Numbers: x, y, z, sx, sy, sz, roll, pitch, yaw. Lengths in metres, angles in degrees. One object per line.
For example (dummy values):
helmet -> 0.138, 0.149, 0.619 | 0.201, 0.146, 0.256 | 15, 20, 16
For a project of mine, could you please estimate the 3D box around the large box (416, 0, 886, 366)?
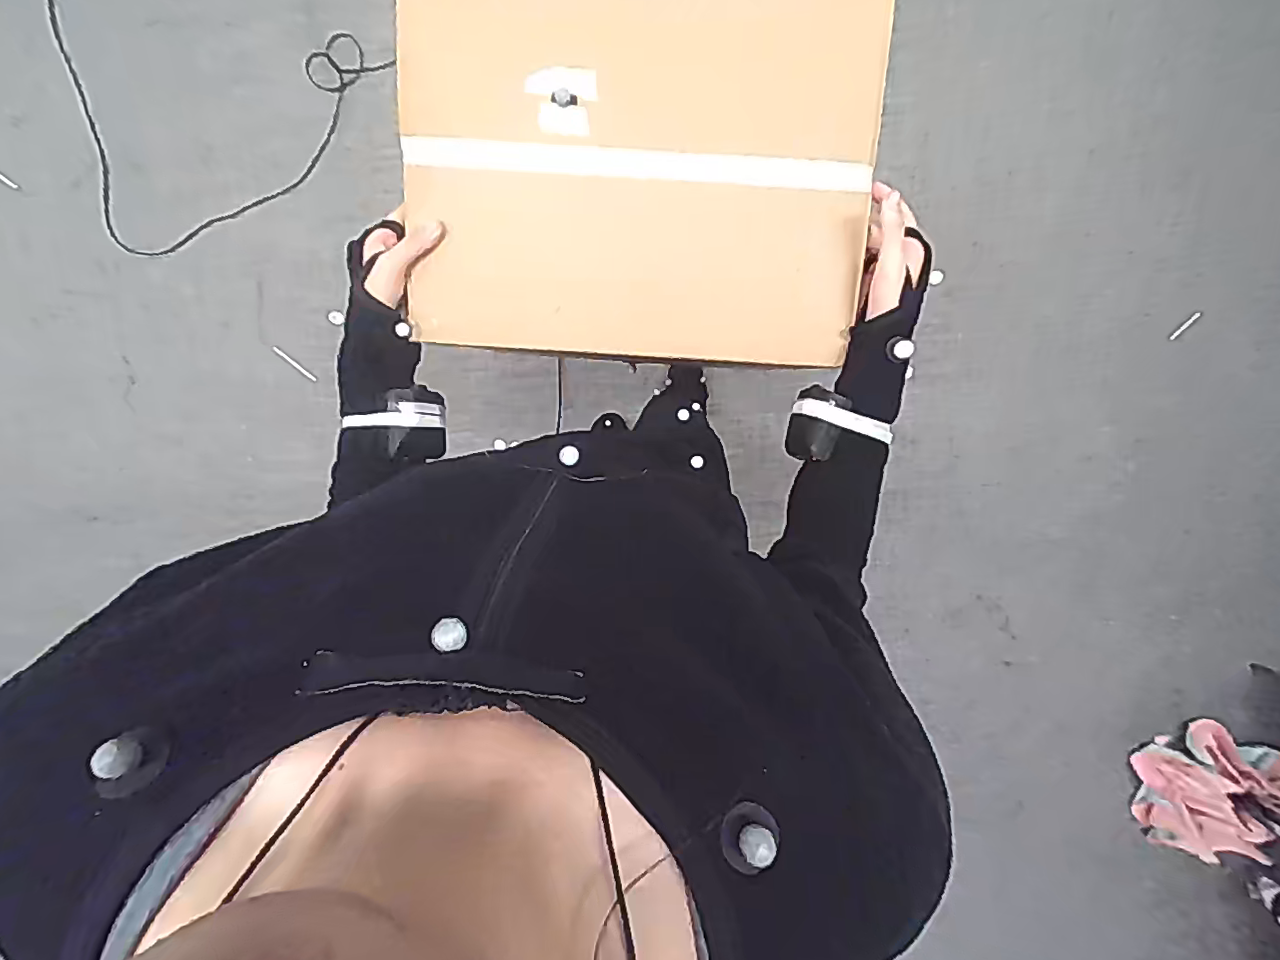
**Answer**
large box -> 0.005, -0.301, 0.627 | 0.408, 0.320, 0.320 | 4, 101, -1
